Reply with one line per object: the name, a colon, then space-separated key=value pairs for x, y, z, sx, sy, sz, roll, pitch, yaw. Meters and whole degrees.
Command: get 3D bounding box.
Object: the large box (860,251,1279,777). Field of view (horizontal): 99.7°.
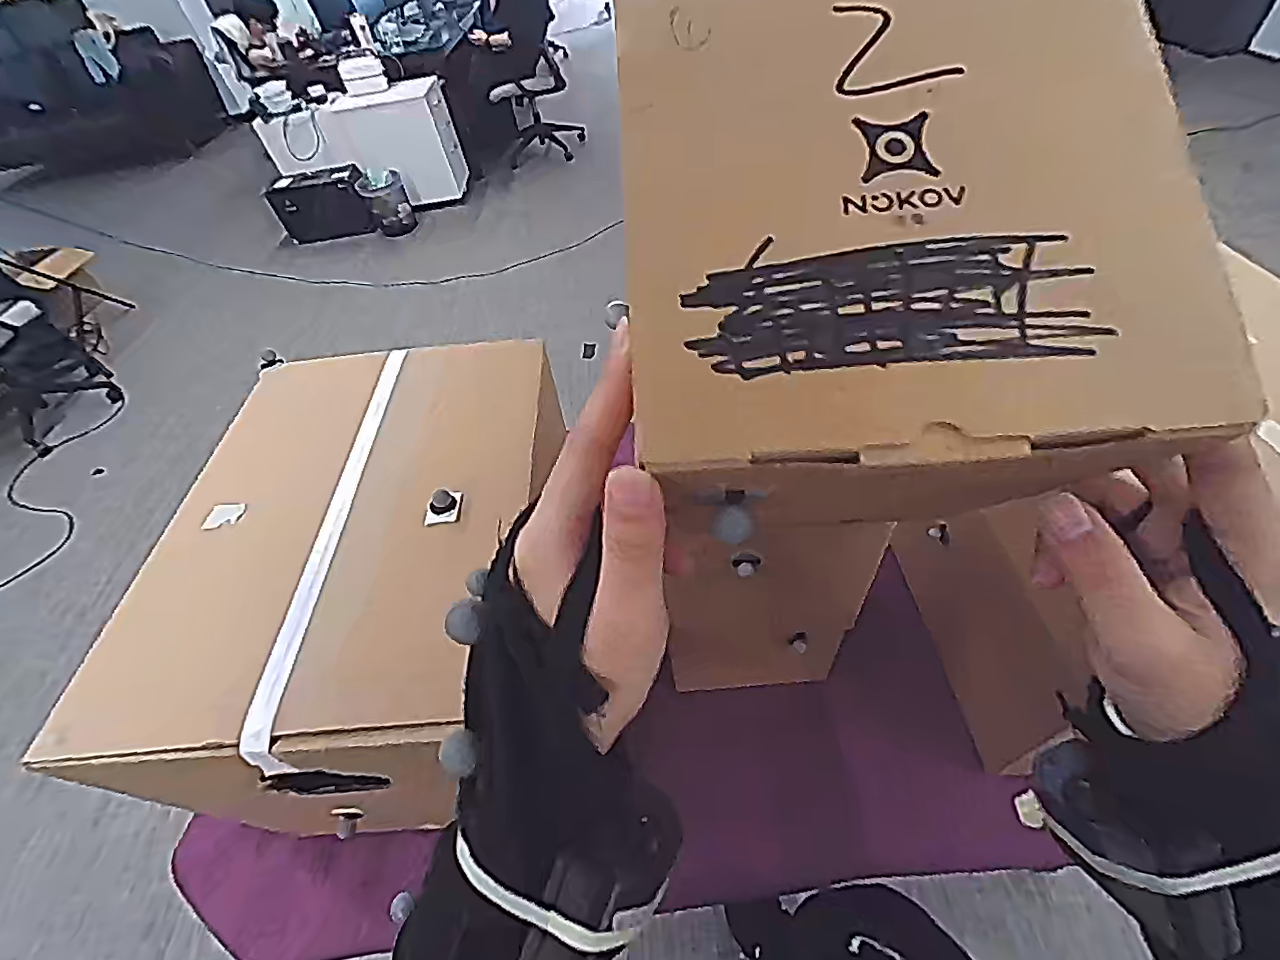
large box: x=0.463 y=0.028 z=0.545 sx=0.320 sy=0.320 sz=0.408 roll=-7 pitch=48 yaw=2
